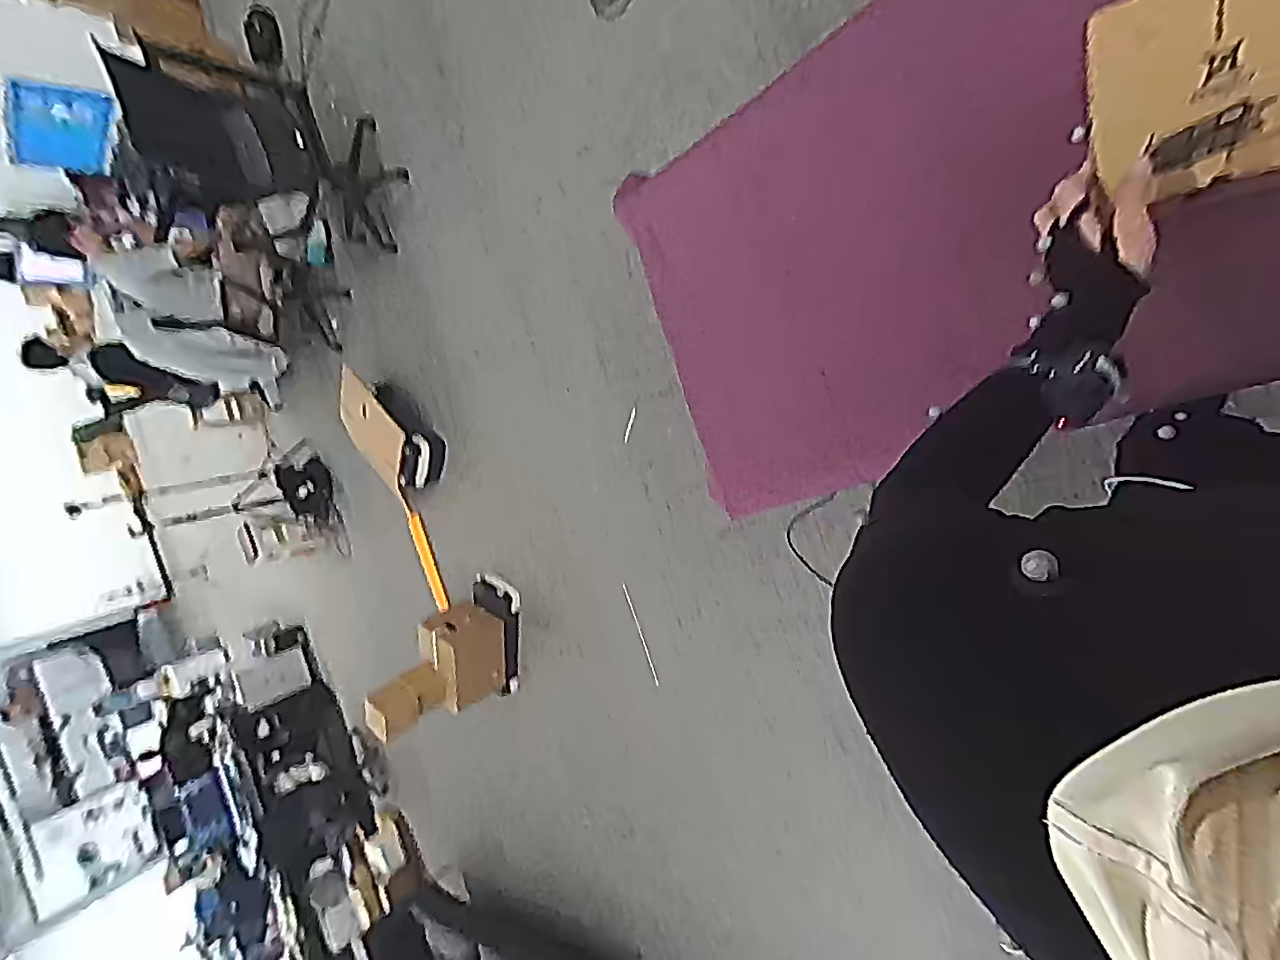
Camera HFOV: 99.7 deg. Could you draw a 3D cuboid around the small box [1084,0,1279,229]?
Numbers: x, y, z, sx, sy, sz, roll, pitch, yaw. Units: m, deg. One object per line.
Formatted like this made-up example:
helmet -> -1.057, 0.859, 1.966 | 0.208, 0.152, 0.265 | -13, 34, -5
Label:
small box -> 0.533, -0.353, 0.513 | 0.168, 0.176, 0.179 | -3, 103, 40
